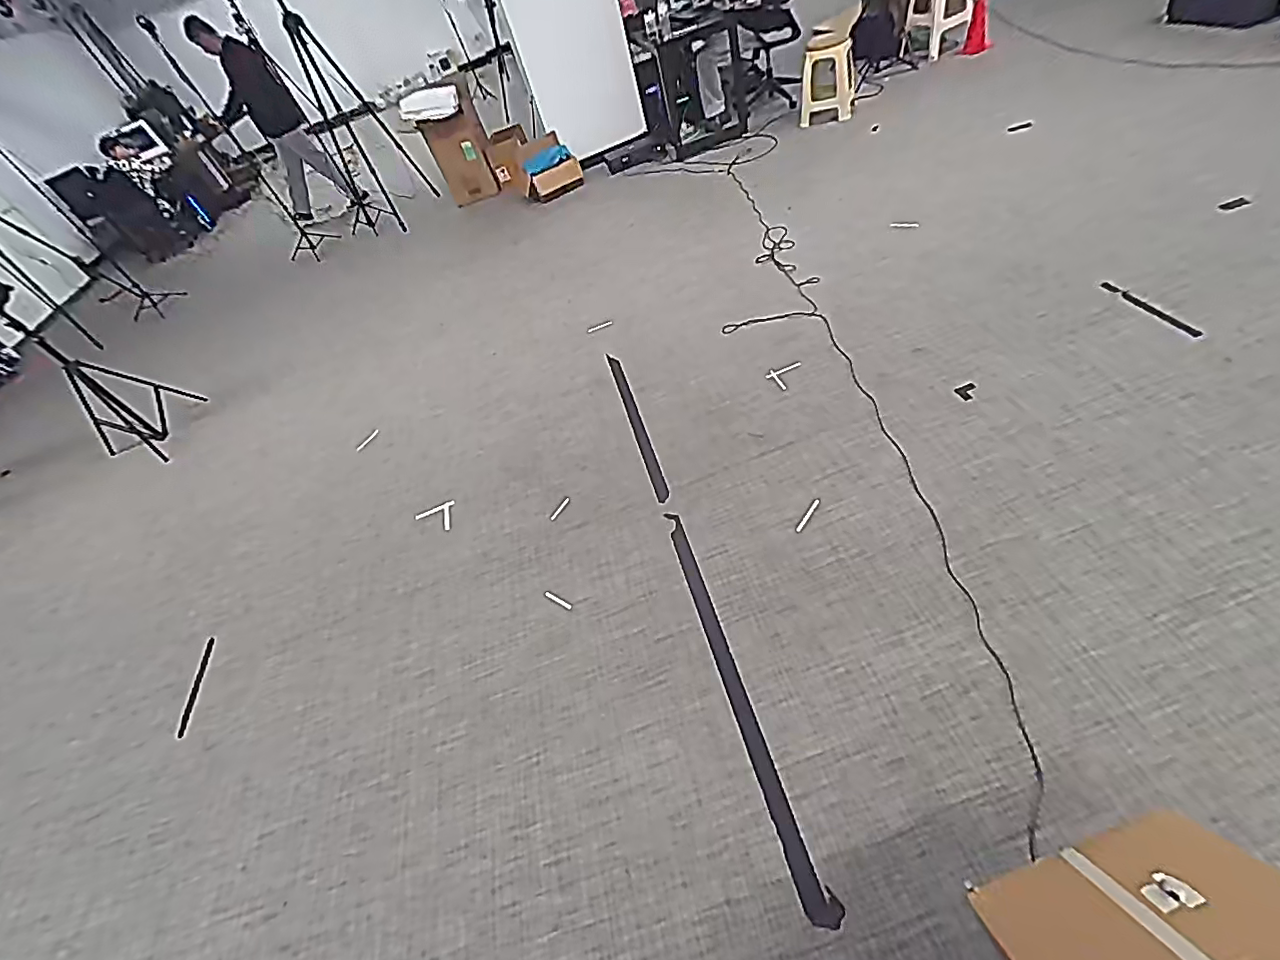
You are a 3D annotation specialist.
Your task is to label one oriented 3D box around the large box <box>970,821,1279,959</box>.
[{"bbox_3d":[0.656,0.654,0.557,0.320,0.408,0.320,-25,79,3],"label":"large box"}]
